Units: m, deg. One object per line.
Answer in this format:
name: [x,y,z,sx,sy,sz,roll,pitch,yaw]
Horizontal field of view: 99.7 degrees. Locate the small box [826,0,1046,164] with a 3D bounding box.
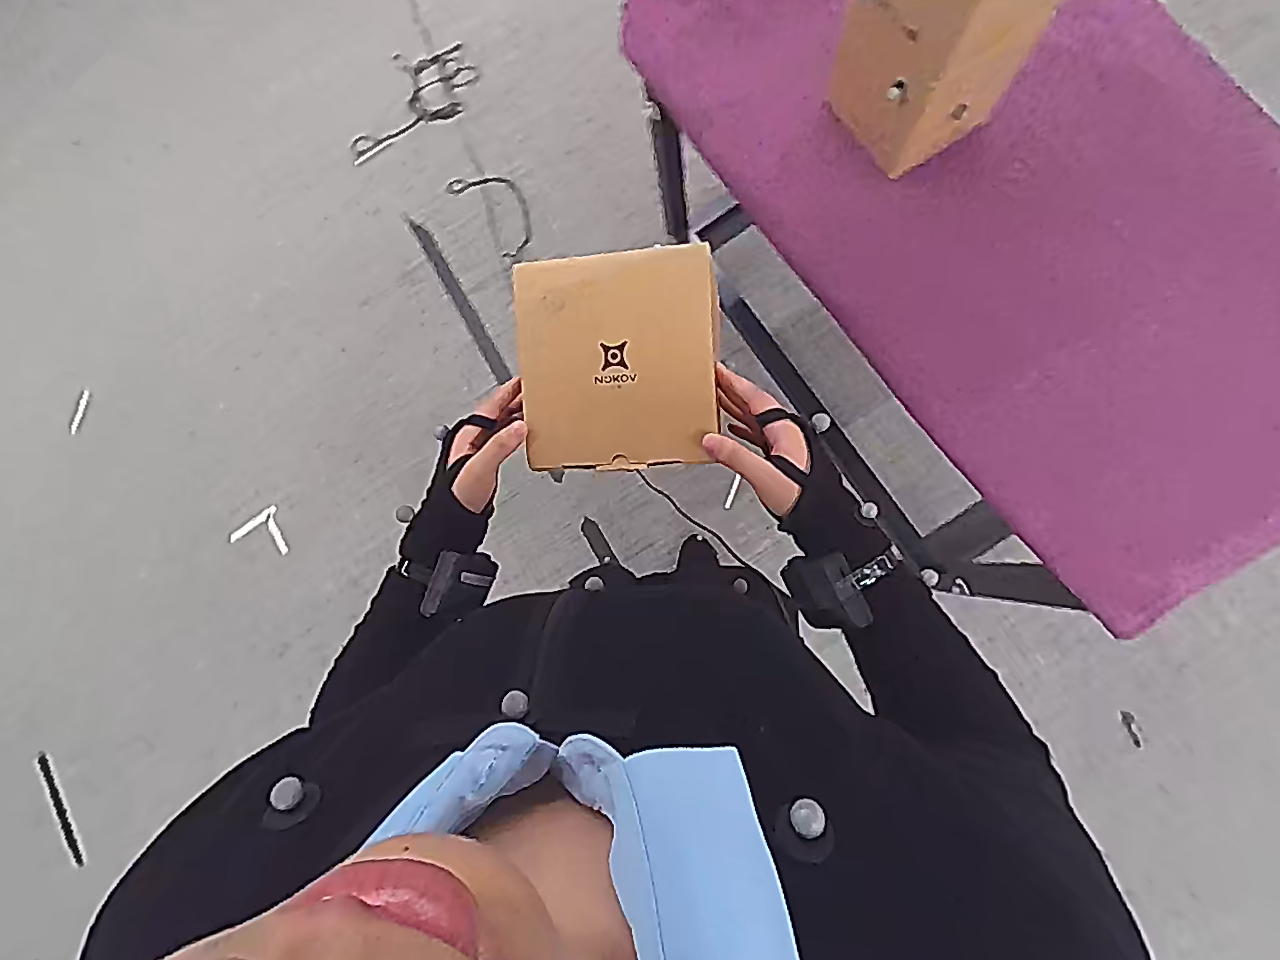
small box: [0.382,-0.574,0.737,0.168,0.176,0.179,-32,80,2]
